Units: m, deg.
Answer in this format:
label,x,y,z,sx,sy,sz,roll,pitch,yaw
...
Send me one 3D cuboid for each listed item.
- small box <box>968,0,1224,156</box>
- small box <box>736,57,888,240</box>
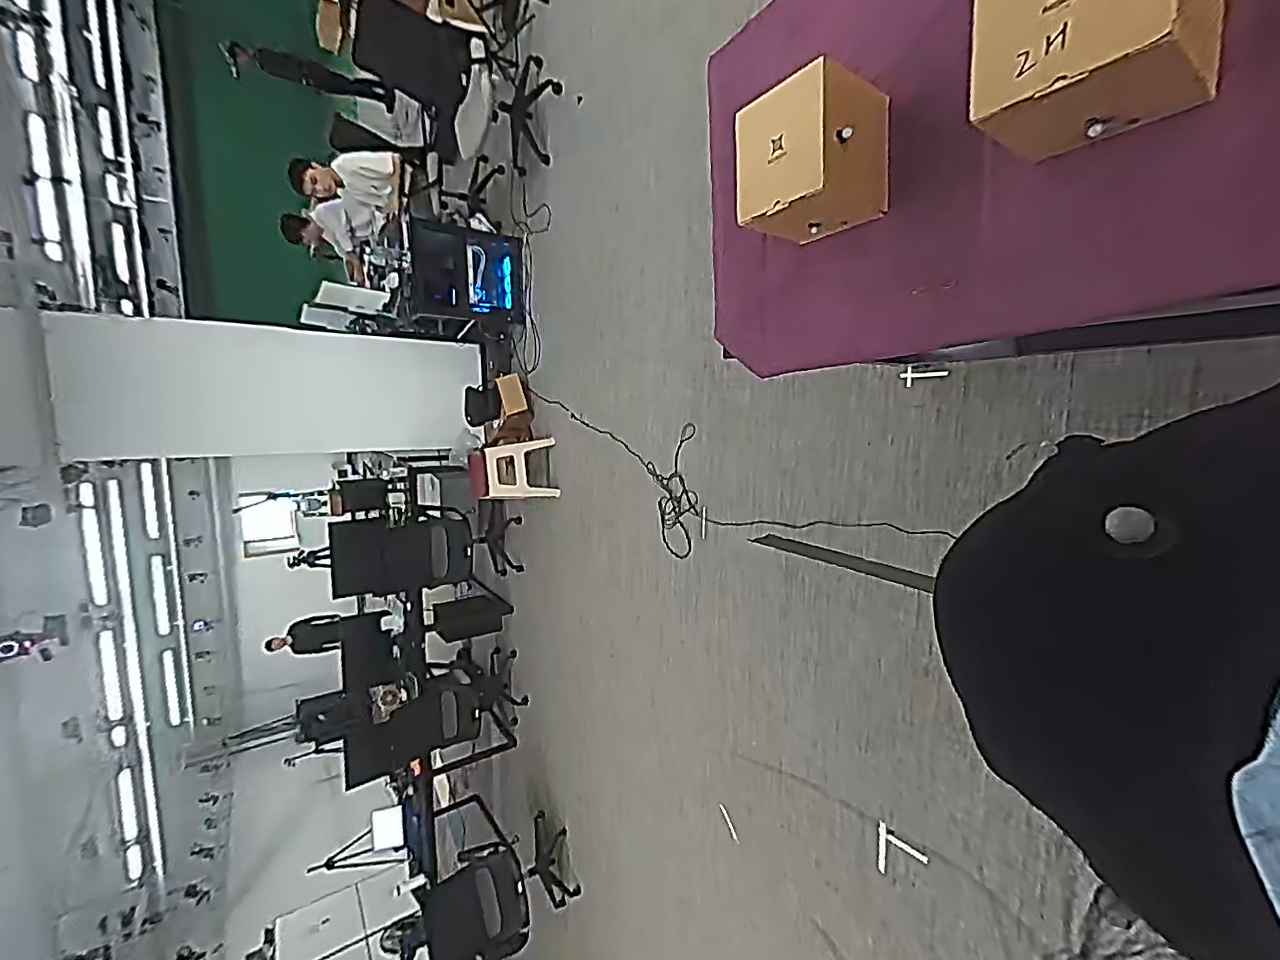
label,x,y,z,sx,sy,sz,roll,pitch,yaw
small box,0.471,-0.477,0.561,0.168,0.176,0.179,8,101,55
small box,0.270,-0.502,0.851,0.168,0.176,0.179,6,100,54
